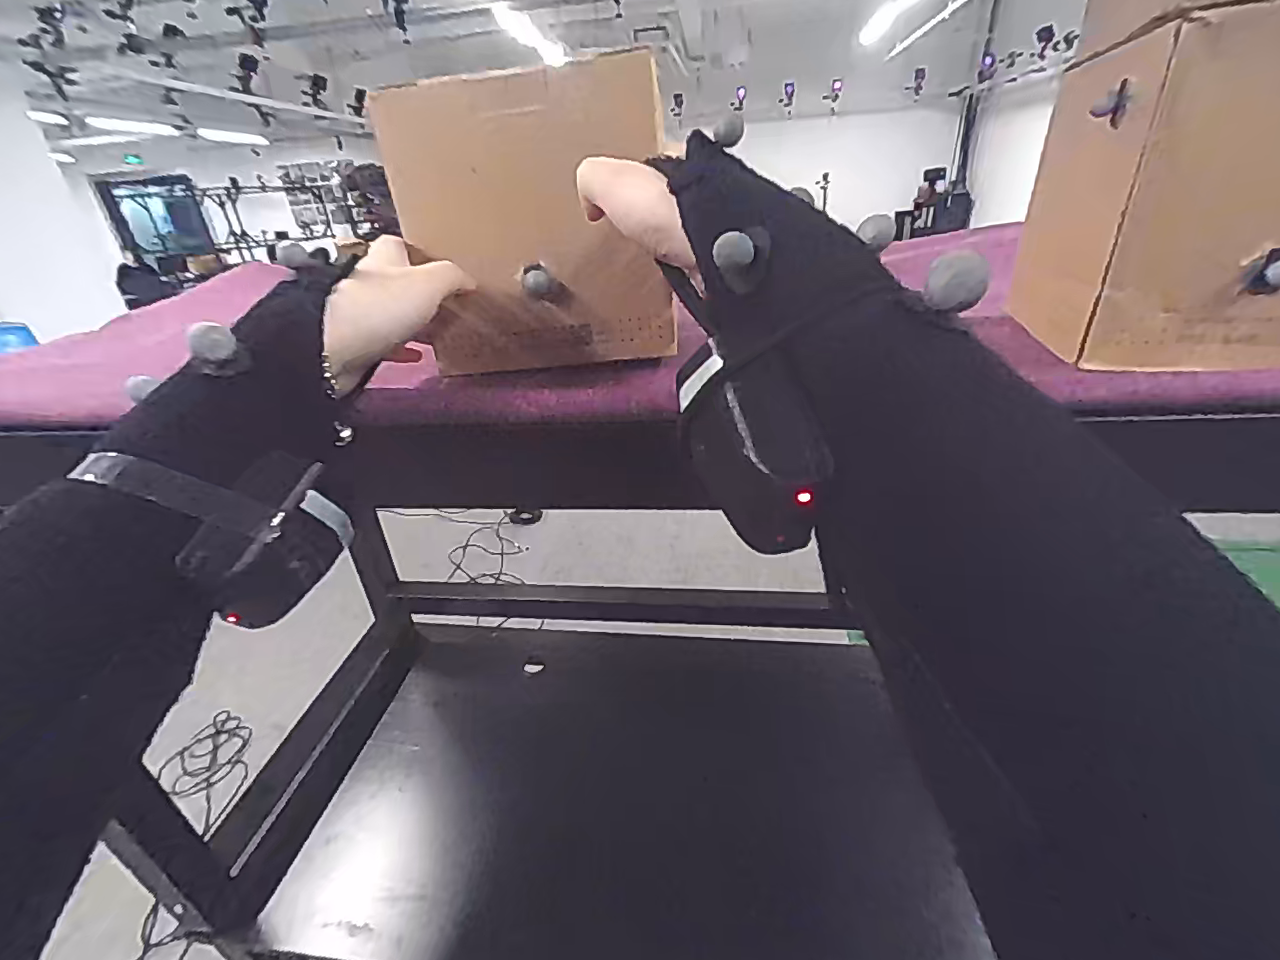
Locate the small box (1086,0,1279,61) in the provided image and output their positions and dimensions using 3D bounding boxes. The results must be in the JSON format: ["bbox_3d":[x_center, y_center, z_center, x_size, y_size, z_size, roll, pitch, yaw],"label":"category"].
[{"bbox_3d":[0.339,-0.301,0.240,0.168,0.176,0.179,6,32,21],"label":"small box"}]

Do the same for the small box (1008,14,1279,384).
[{"bbox_3d":[0.351,-0.163,0.324,0.168,0.176,0.179,5,31,17],"label":"small box"}]
